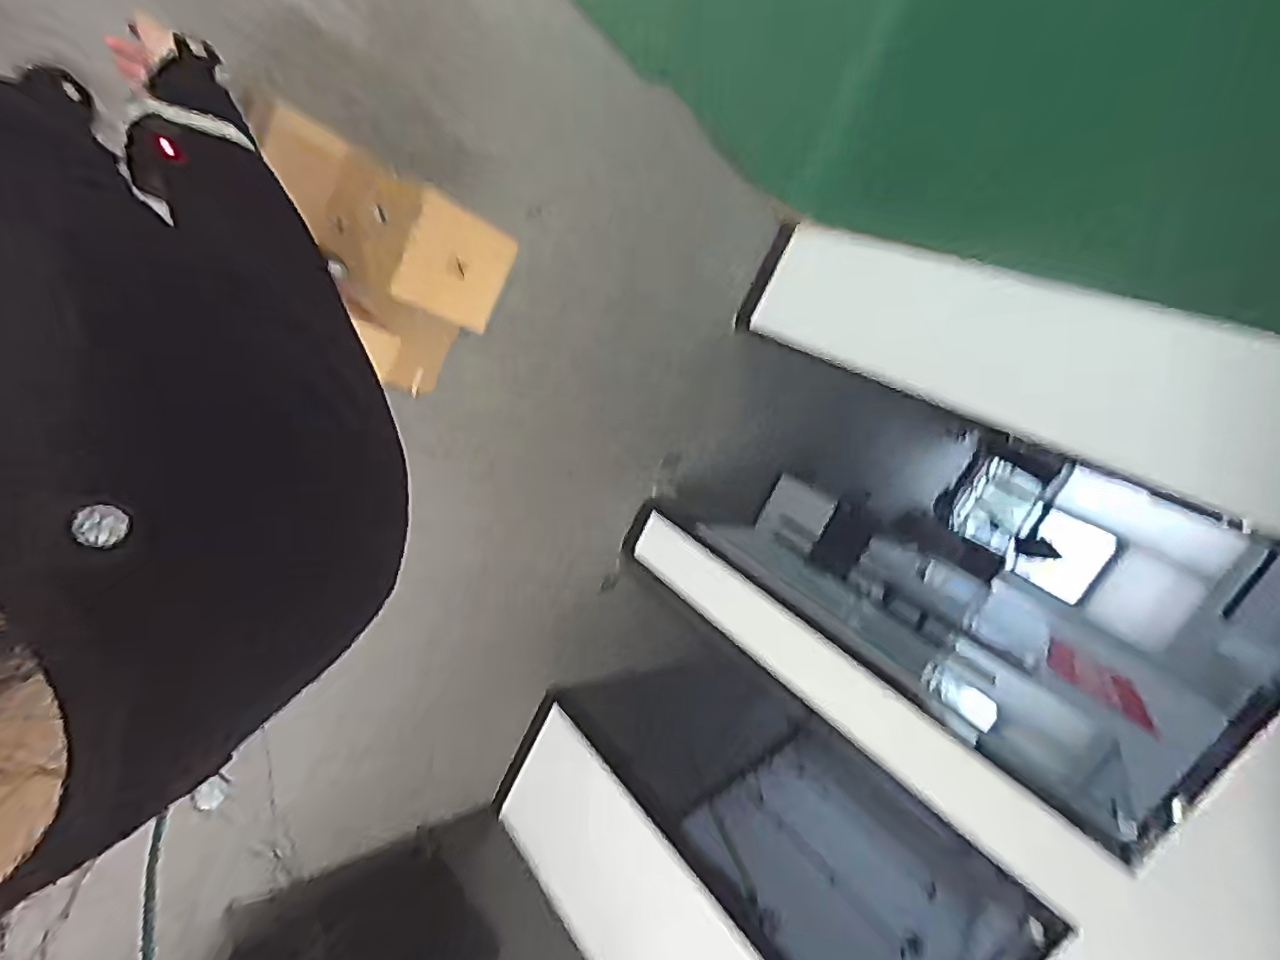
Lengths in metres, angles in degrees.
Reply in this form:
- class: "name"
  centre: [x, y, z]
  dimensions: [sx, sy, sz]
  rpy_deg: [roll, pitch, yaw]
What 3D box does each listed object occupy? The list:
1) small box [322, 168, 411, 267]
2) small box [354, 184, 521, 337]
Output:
- class: "small box"
  centre: [-0.452, -0.450, 1.002]
  dimensions: [0.179, 0.176, 0.168]
  rpy_deg: [15, 106, -55]
- class: "small box"
  centre: [-0.343, -0.370, 0.912]
  dimensions: [0.179, 0.176, 0.168]
  rpy_deg: [14, 107, -53]
